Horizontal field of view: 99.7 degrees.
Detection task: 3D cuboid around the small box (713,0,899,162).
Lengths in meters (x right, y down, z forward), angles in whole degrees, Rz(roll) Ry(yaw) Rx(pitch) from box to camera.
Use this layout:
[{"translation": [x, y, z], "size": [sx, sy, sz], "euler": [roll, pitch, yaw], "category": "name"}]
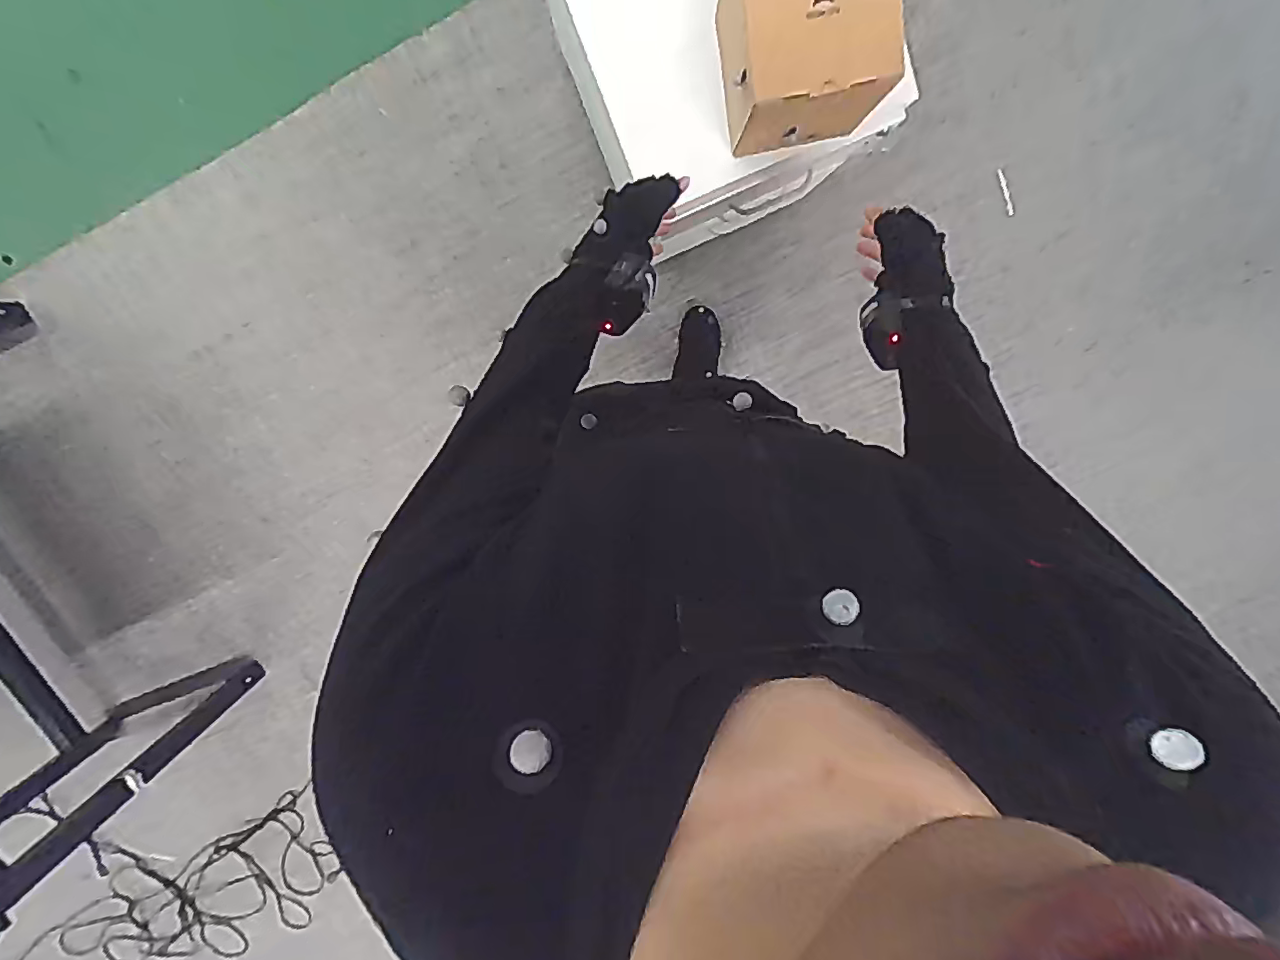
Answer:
[{"translation": [0.187, -0.517, 0.648], "size": [0.168, 0.176, 0.179], "euler": [-10, 103, 3], "category": "small box"}]
